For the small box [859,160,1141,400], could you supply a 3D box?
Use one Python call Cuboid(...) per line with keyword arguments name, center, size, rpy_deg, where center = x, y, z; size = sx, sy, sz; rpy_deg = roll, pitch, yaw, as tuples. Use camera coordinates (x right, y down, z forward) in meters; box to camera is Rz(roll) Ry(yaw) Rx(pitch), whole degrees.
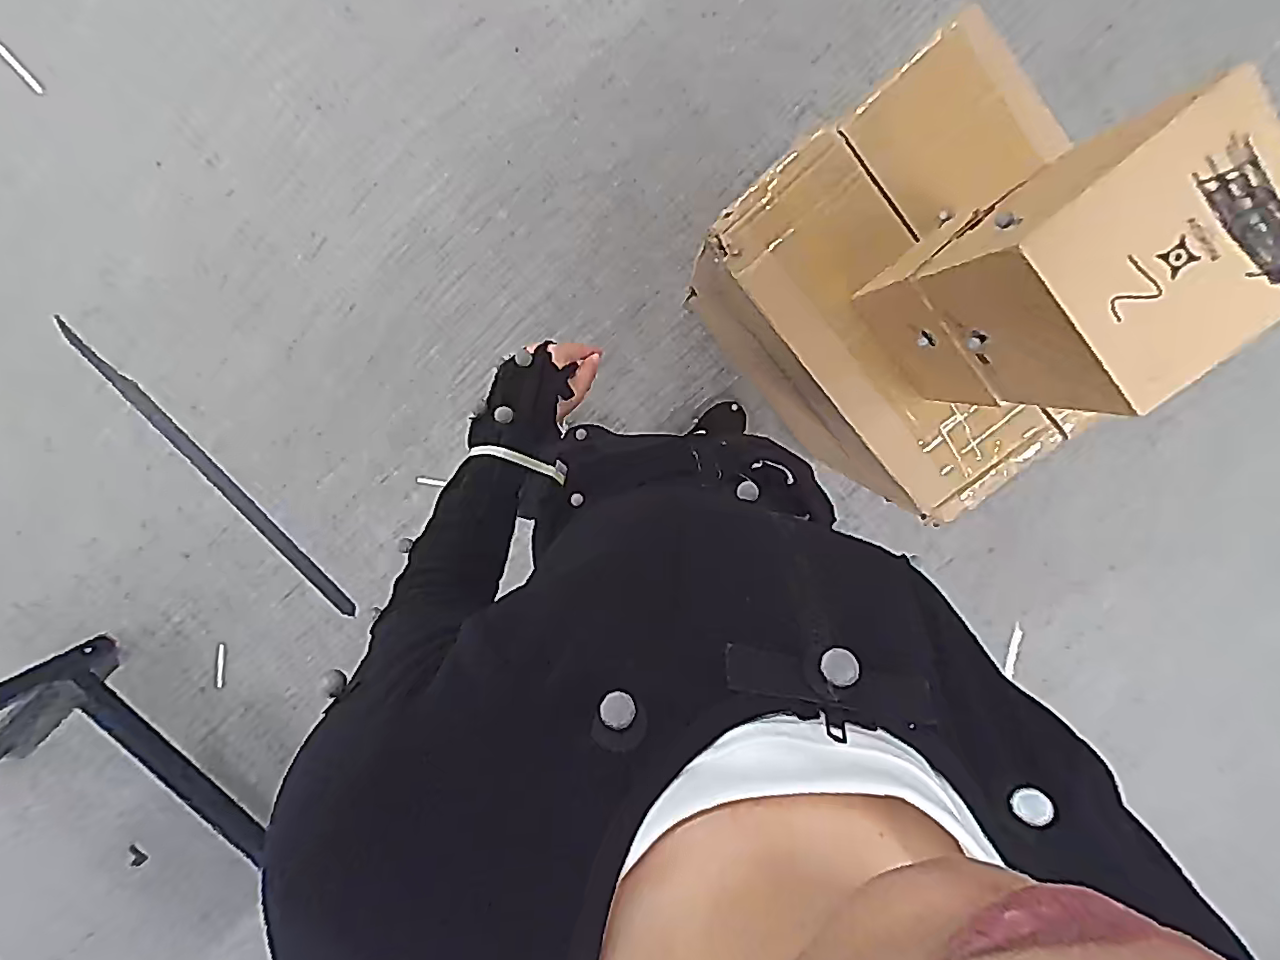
Cuboid(name="small box", center=(0.387, -0.210, 0.619), size=(0.168, 0.176, 0.179), rpy_deg=(-39, 98, 9))
